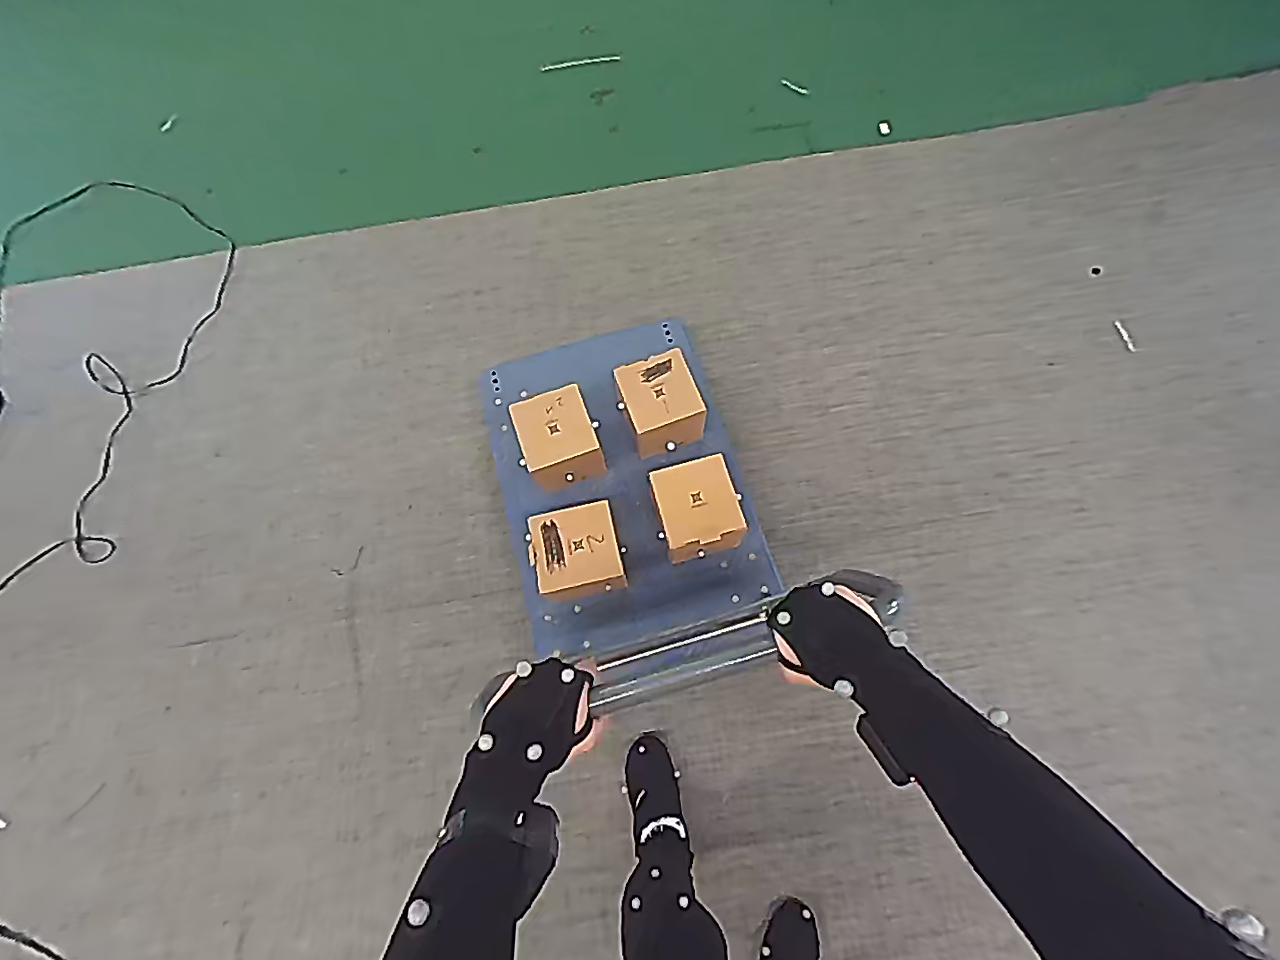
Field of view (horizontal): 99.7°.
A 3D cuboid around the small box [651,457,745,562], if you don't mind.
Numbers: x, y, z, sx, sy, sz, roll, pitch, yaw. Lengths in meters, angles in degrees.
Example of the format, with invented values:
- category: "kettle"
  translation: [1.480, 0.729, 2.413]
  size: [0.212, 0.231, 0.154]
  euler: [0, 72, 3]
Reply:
- category: "small box"
  translation: [0.124, 0.072, 1.231]
  size: [0.168, 0.176, 0.179]
  euler: [-15, 71, -3]

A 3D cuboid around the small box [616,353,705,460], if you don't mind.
- category: "small box"
  translation: [0.048, -0.173, 1.318]
  size: [0.168, 0.176, 0.179]
  euler: [-20, 72, -3]

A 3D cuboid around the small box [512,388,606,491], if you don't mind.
- category: "small box"
  translation: [-0.188, -0.086, 1.299]
  size: [0.168, 0.176, 0.179]
  euler: [-19, 71, -5]
